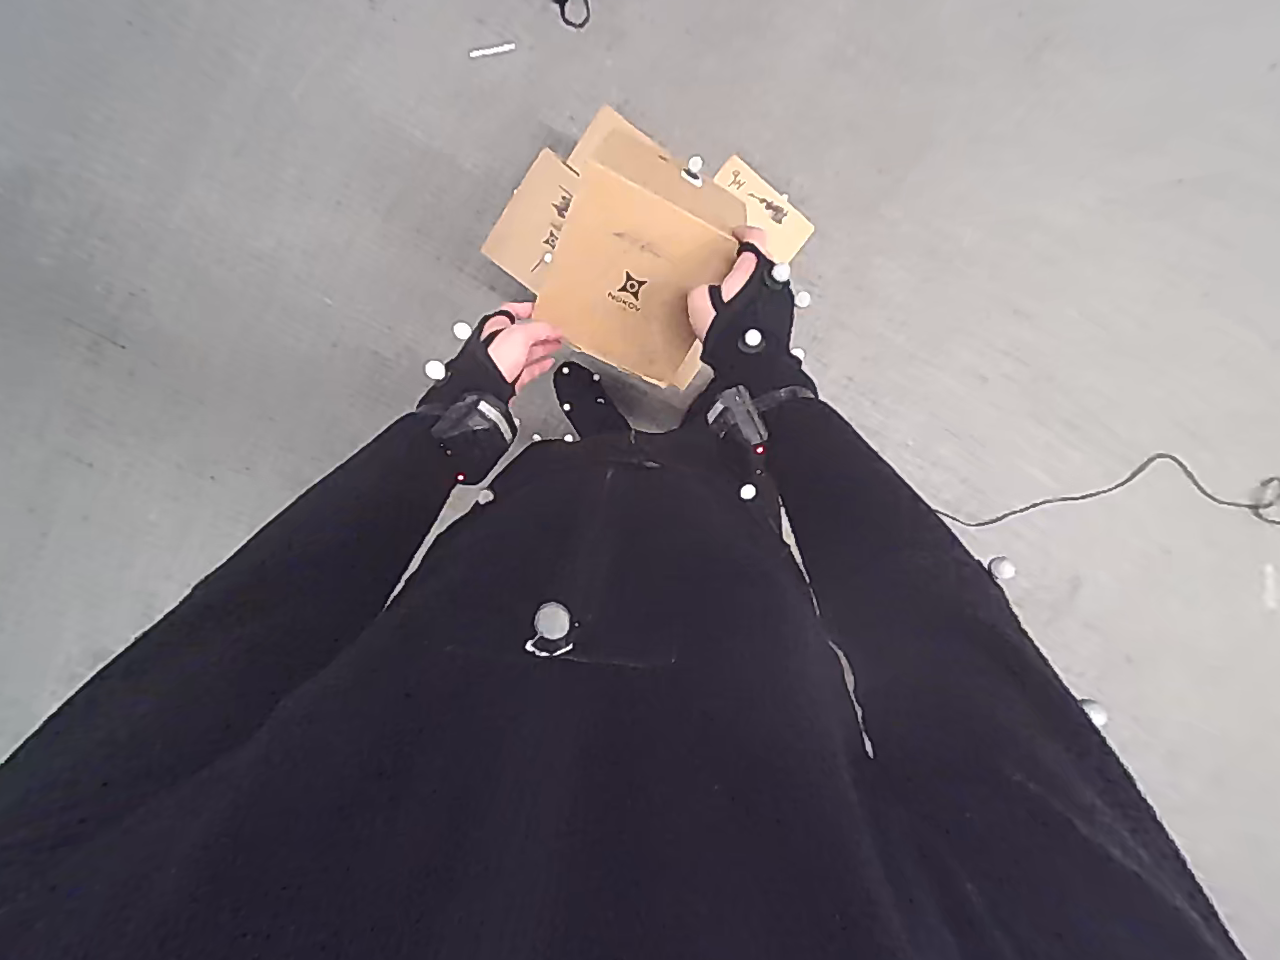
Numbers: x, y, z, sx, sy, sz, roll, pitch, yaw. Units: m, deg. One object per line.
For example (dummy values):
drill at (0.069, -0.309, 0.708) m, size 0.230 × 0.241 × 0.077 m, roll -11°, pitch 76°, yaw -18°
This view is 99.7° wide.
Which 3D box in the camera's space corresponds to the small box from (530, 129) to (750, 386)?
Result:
small box at (0.002, -0.241, 0.585) m, size 0.168 × 0.176 × 0.179 m, roll 23°, pitch 129°, yaw -12°

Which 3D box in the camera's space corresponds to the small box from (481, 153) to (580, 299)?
small box at (-0.125, -0.376, 0.875) m, size 0.168 × 0.176 × 0.179 m, roll 37°, pitch 102°, yaw -10°

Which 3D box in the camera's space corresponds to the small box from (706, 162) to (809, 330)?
small box at (0.138, -0.366, 0.888) m, size 0.168 × 0.176 × 0.179 m, roll 37°, pitch 98°, yaw -9°
